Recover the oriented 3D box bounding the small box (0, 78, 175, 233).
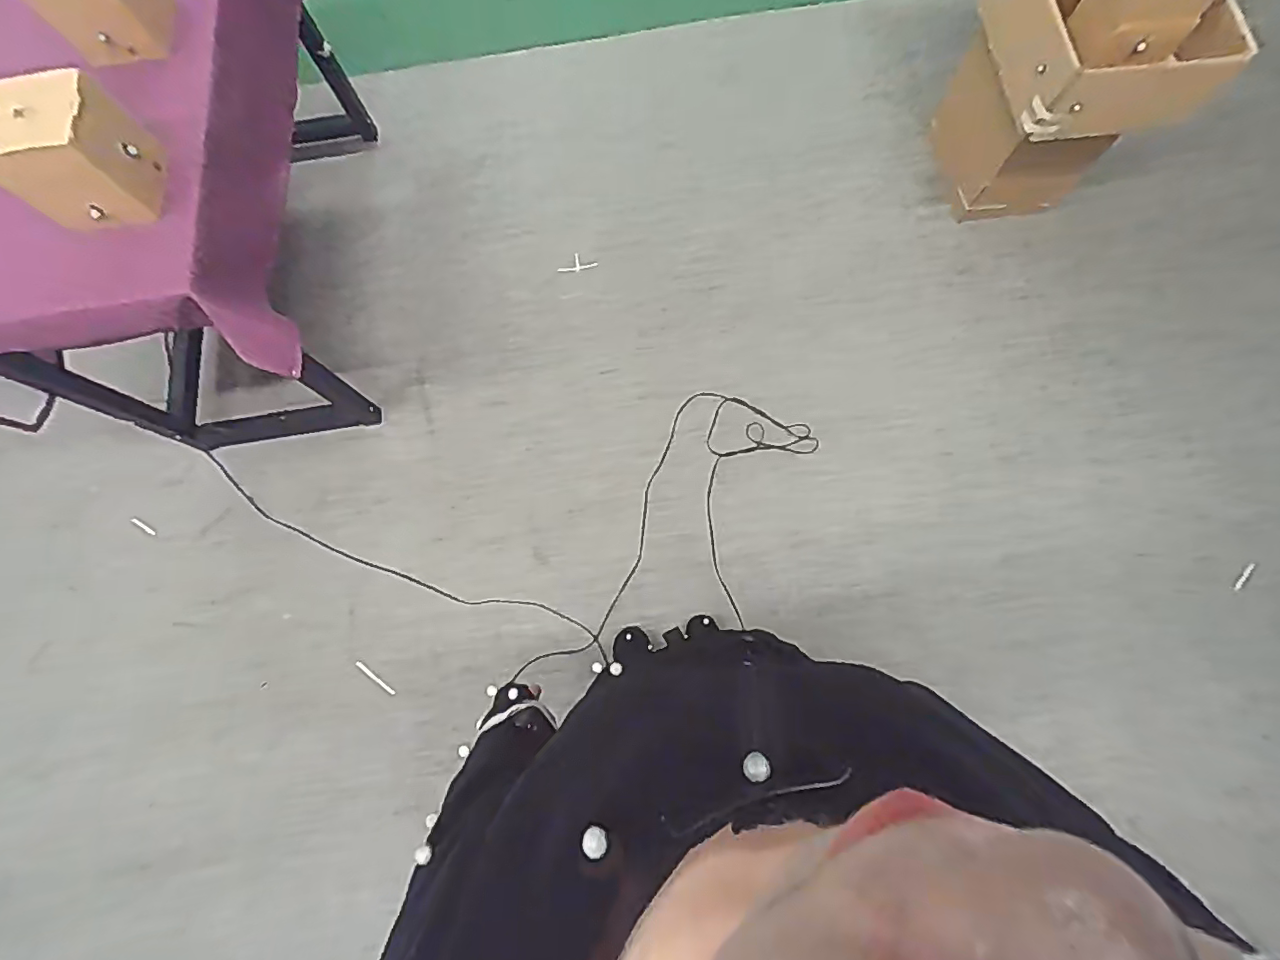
[{"bbox_3d":[-1.007,-0.583,0.988,0.179,0.176,0.168,-8,74,1],"label":"small box"}]

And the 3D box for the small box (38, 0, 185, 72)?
[{"bbox_3d":[-1.080,-0.984,1.101,0.168,0.176,0.179,-7,74,2],"label":"small box"}]

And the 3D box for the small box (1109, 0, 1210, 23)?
[{"bbox_3d":[1.107,-1.085,1.103,0.179,0.176,0.168,-3,74,4],"label":"small box"}]
